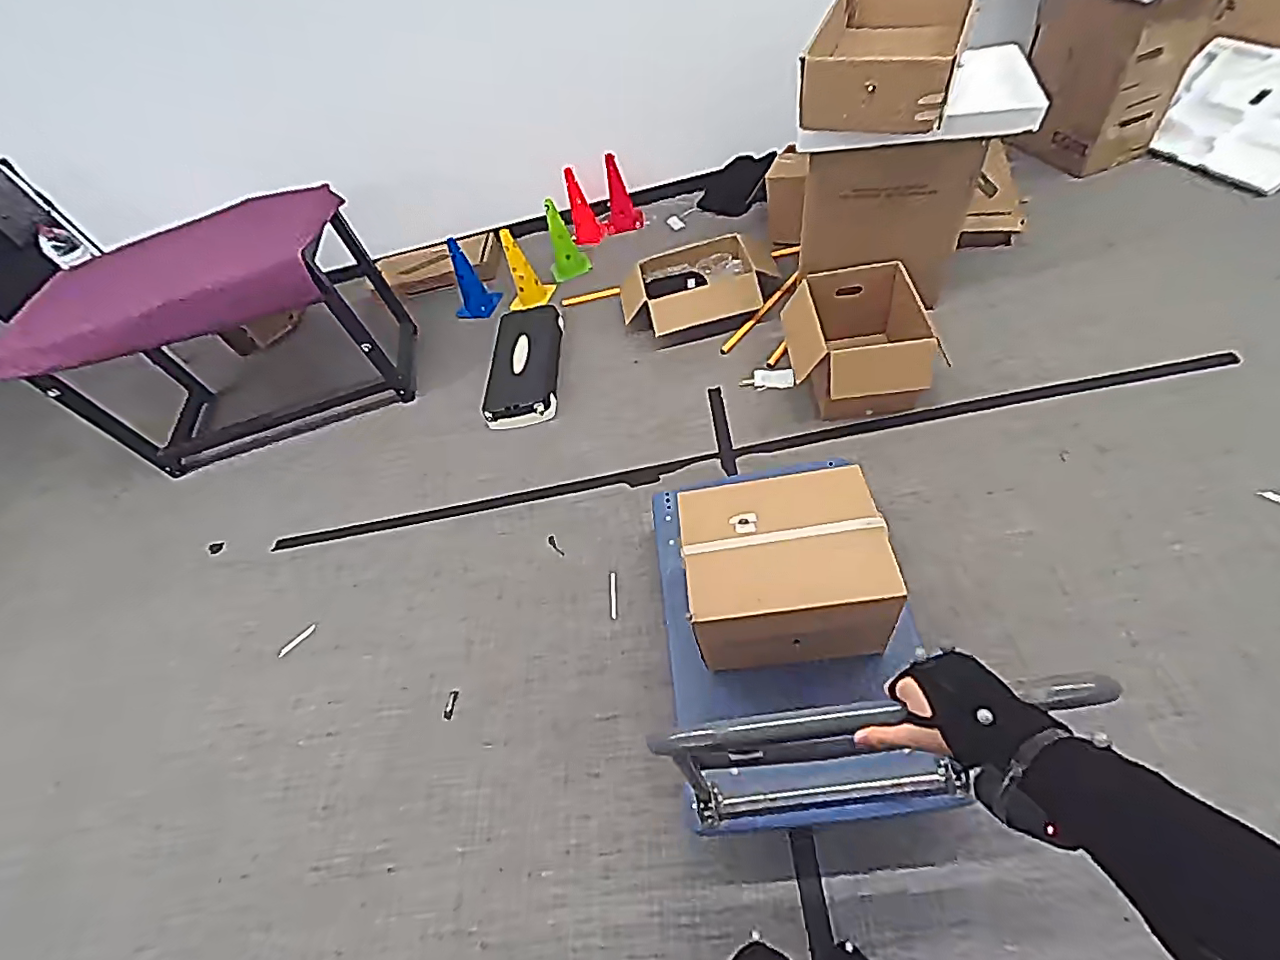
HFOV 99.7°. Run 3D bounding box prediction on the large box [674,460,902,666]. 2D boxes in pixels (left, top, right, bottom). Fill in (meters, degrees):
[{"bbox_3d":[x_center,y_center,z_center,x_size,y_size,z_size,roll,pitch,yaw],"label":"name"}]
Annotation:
[{"bbox_3d":[0.313,0.200,1.220,0.408,0.320,0.320,-11,51,8],"label":"large box"}]
